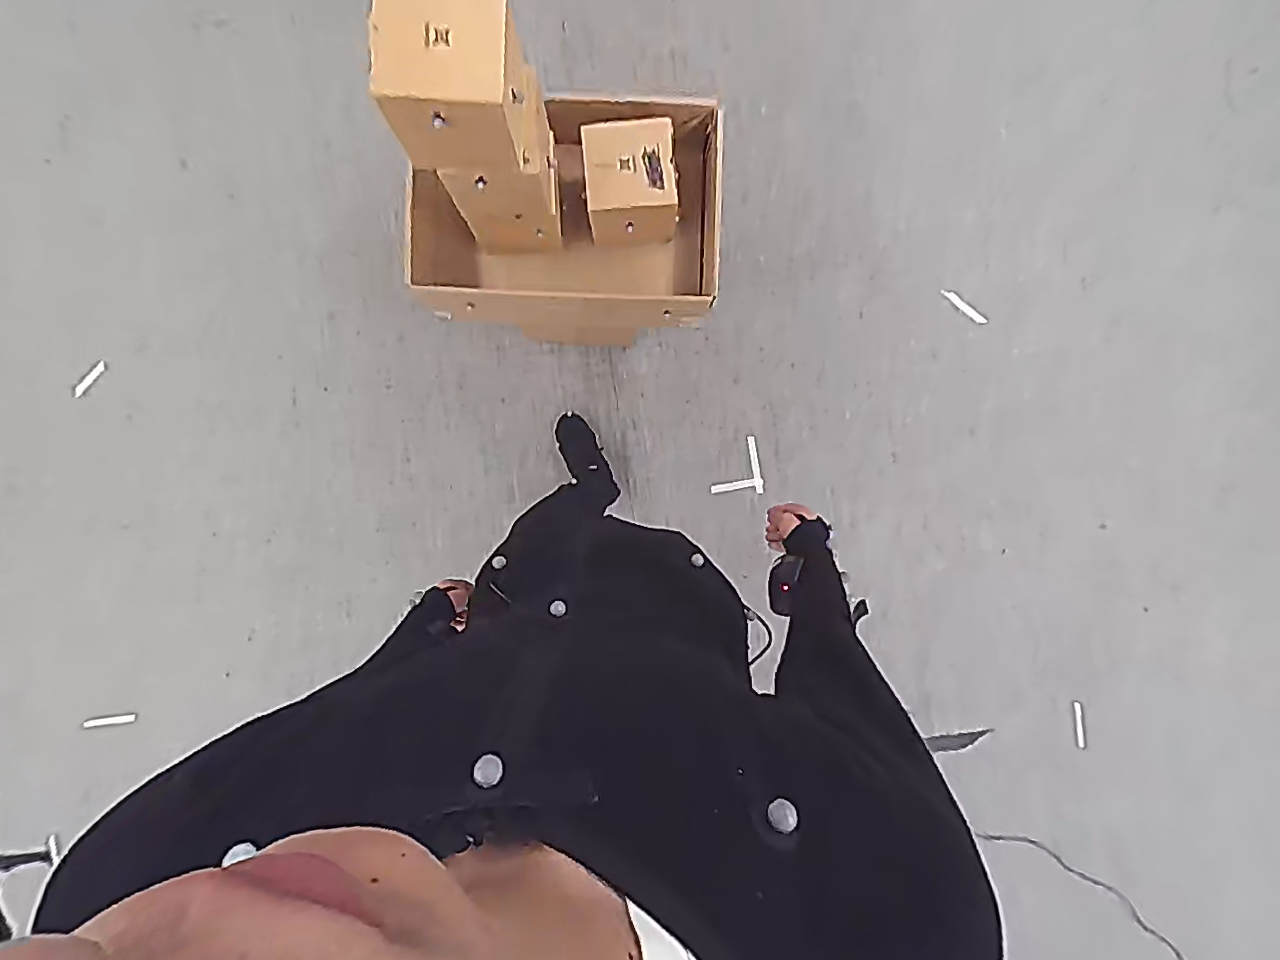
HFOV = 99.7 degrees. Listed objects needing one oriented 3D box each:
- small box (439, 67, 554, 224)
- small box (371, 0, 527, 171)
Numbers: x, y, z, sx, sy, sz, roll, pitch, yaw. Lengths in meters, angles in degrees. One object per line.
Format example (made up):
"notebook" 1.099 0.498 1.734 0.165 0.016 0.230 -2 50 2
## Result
"small box" -0.244 -0.575 0.943 0.168 0.176 0.179 -1 90 -2
"small box" -0.262 -0.573 0.779 0.179 0.176 0.168 1 90 -2
